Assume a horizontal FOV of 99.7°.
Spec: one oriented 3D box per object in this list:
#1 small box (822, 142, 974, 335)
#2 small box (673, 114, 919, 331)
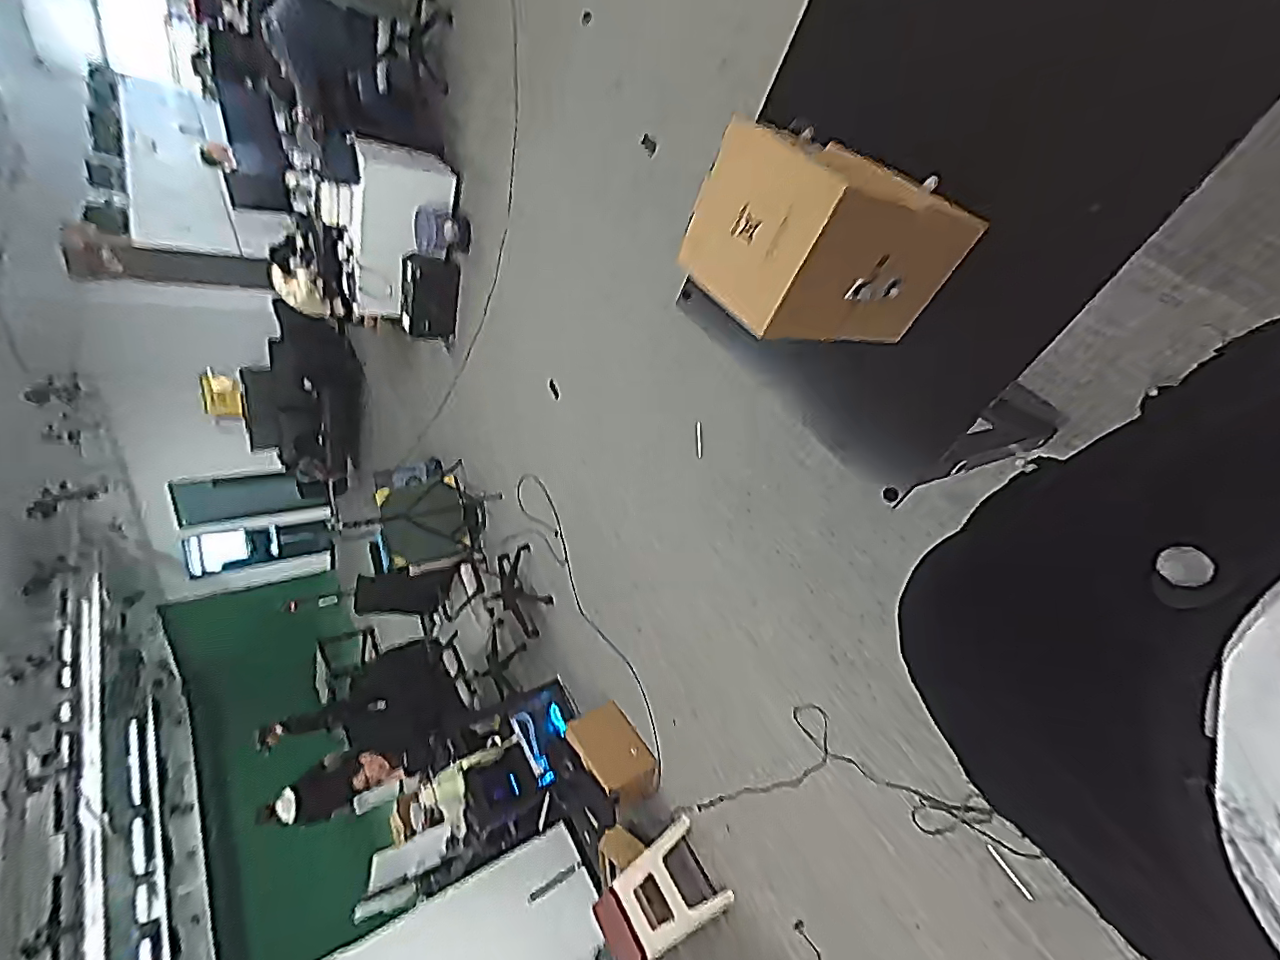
[{"bbox_3d":[0.302,-0.312,0.731,0.168,0.176,0.179,54,134,30],"label":"small box"},{"bbox_3d":[0.176,-0.288,0.632,0.179,0.176,0.168,52,136,30],"label":"small box"}]
